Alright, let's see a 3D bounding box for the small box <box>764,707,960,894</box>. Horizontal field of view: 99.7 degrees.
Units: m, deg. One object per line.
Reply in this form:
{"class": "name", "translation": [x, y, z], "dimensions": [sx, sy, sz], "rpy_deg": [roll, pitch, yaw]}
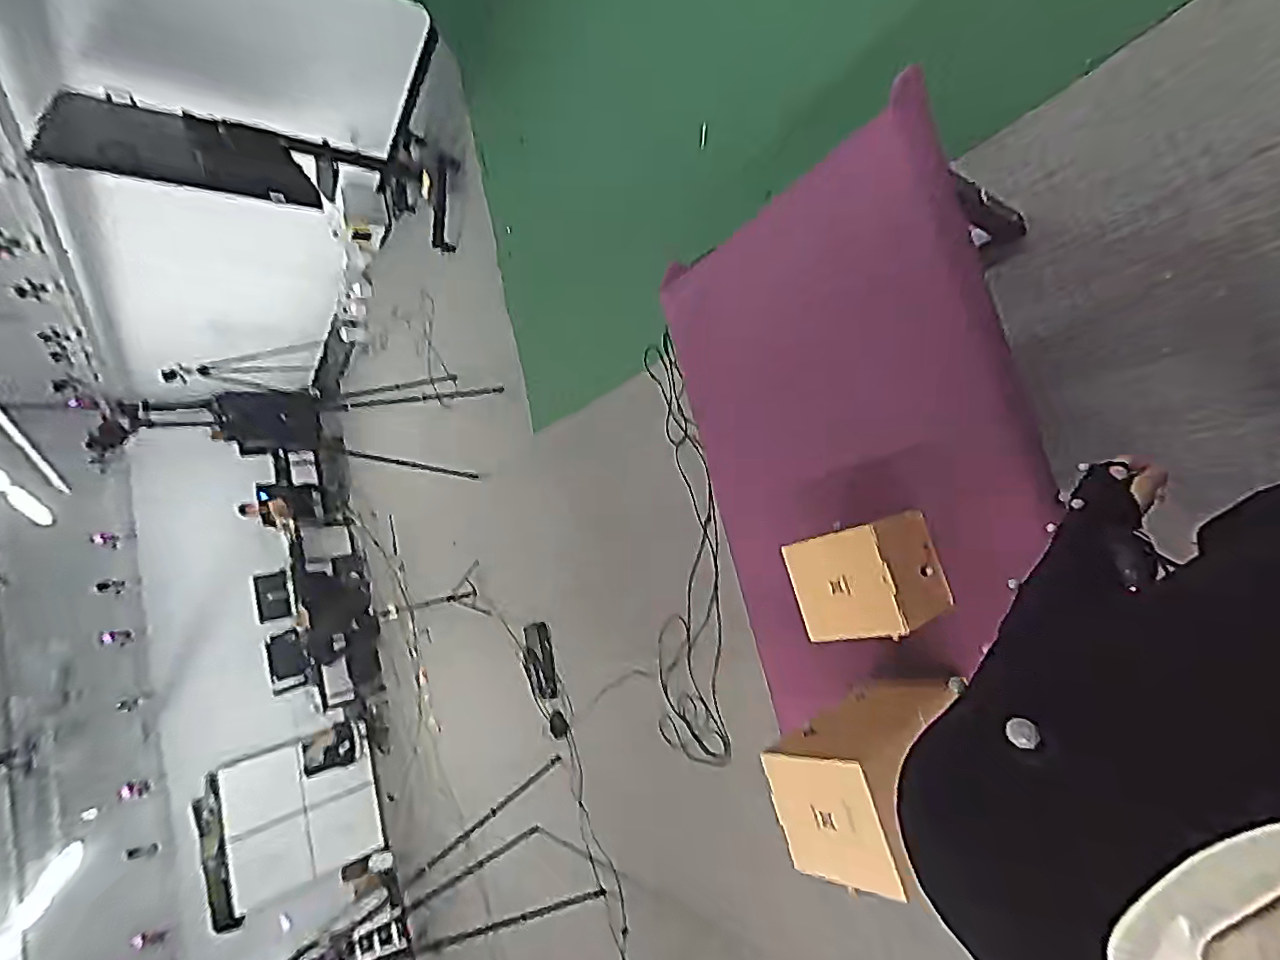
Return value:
{"class": "small box", "translation": [0.318, 0.441, 0.781], "dimensions": [0.179, 0.176, 0.168], "rpy_deg": [-29, 75, 49]}

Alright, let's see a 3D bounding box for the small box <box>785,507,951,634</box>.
{"class": "small box", "translation": [0.383, 0.152, 0.914], "dimensions": [0.179, 0.176, 0.168], "rpy_deg": [-27, 76, 48]}
